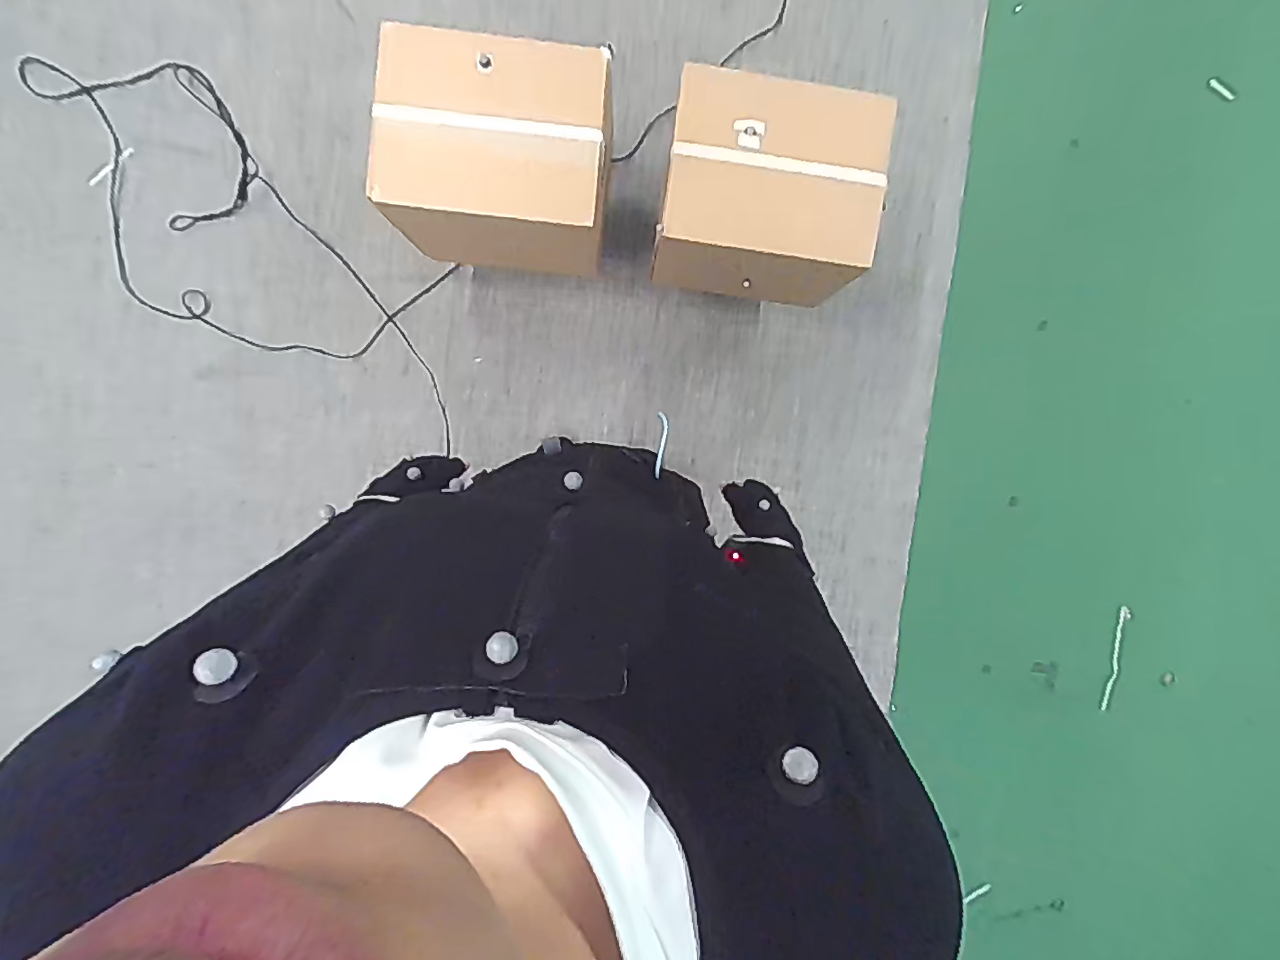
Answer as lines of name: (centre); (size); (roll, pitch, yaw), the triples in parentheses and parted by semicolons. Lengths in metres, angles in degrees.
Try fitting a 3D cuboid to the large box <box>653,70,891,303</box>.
large box: (0.252, -0.590, 1.158); (0.408, 0.320, 0.320); (8, 94, -3)
